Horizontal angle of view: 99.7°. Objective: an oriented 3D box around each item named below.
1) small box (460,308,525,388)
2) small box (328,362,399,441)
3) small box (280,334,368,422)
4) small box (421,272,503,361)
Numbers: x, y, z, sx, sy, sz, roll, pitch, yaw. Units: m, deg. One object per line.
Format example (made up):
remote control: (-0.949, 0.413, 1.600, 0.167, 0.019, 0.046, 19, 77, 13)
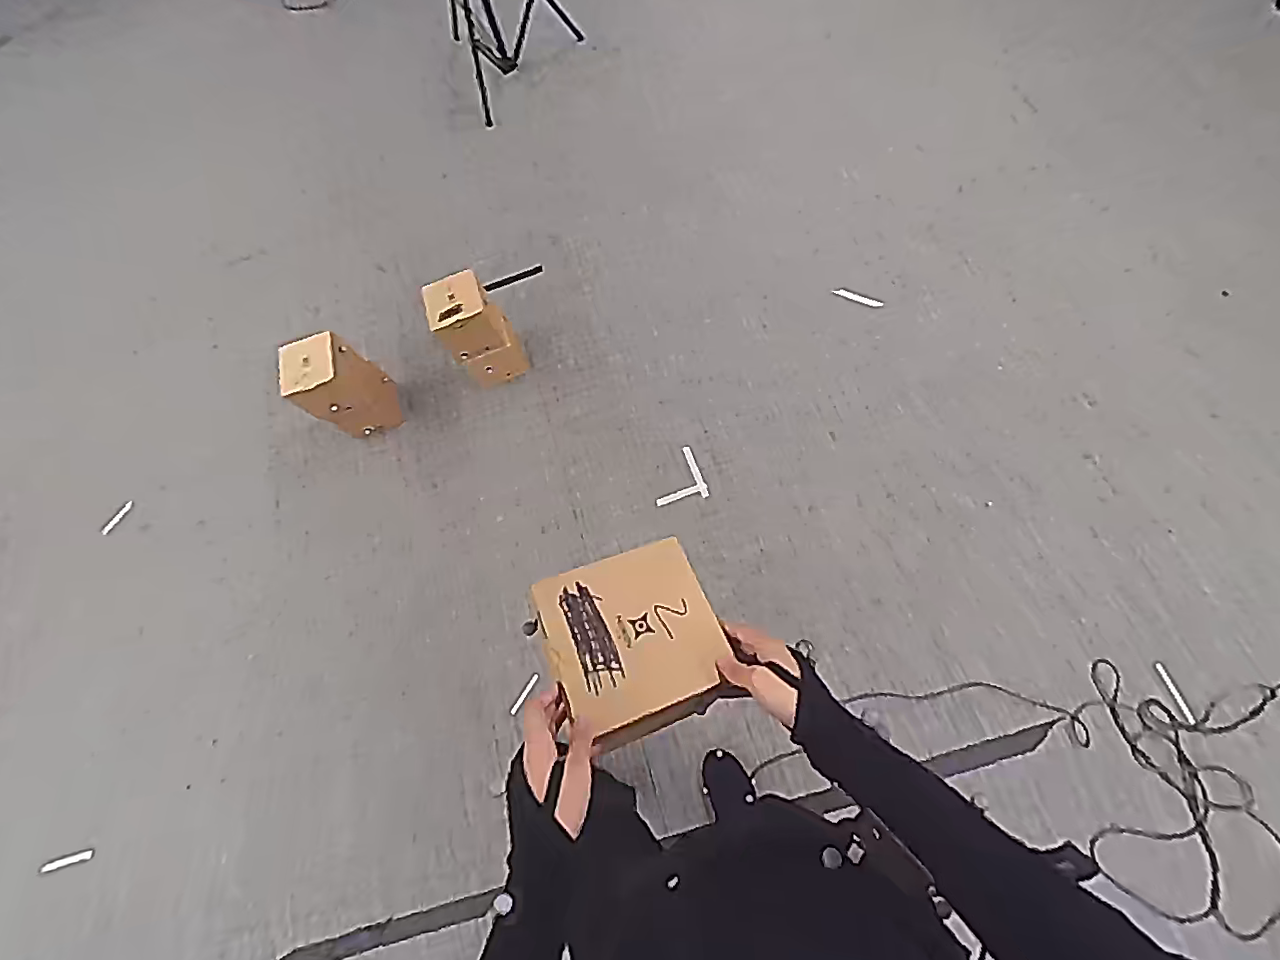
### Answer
small box: (-0.499, -0.428, 1.790, 0.168, 0.176, 0.179, -22, 68, 0)
small box: (-0.922, -0.256, 1.790, 0.168, 0.176, 0.179, -17, 69, 3)
small box: (-0.951, -0.305, 1.635, 0.168, 0.176, 0.179, -18, 70, 3)
small box: (-0.534, -0.485, 1.639, 0.168, 0.176, 0.179, -21, 67, 0)
